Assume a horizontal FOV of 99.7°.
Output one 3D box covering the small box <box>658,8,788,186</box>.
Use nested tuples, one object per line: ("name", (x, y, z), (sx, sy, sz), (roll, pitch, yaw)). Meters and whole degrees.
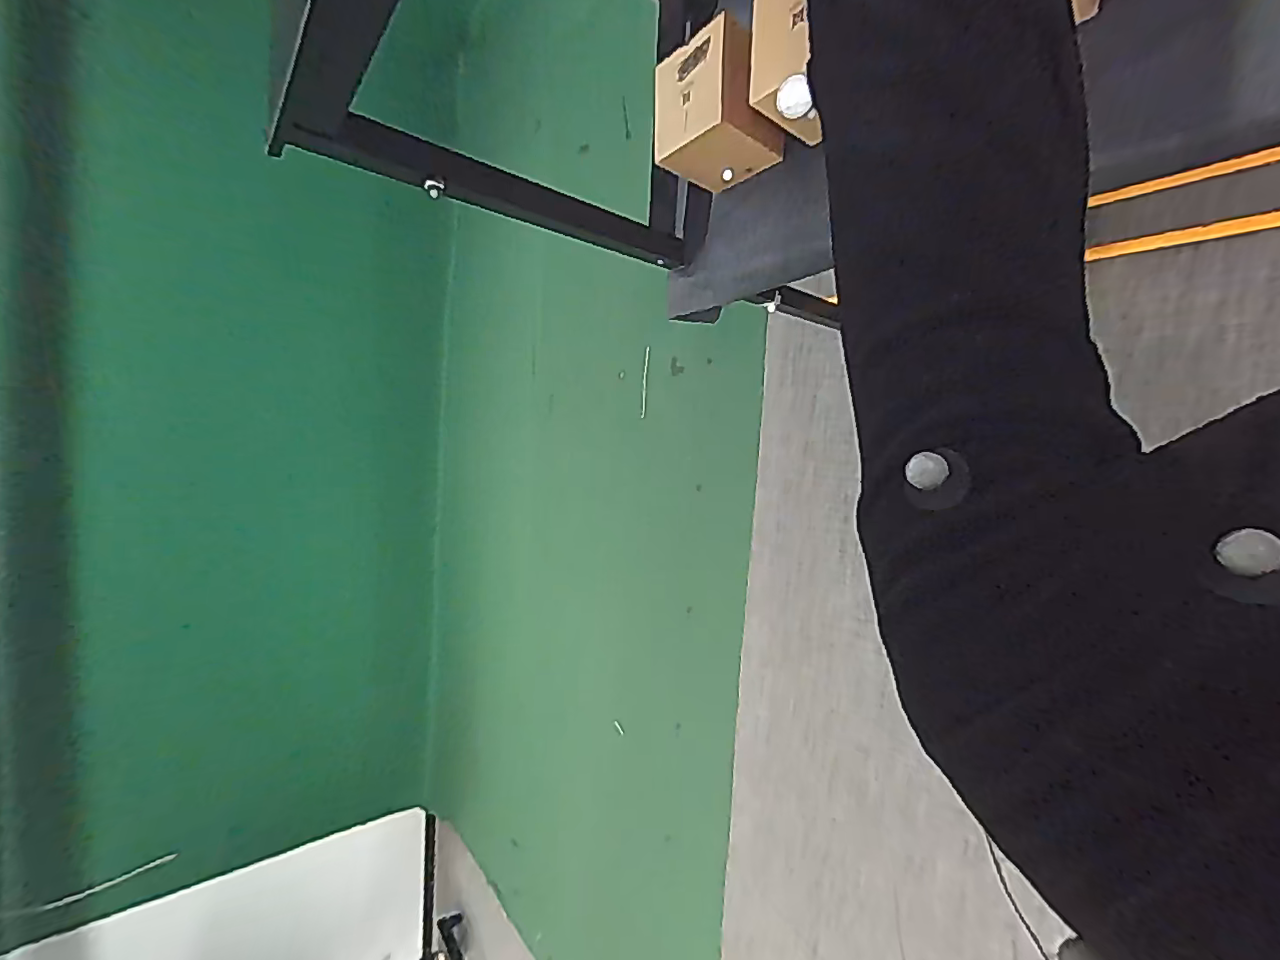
("small box", (0.150, -0.668, 0.971), (0.168, 0.176, 0.179), (3, 93, 51))
